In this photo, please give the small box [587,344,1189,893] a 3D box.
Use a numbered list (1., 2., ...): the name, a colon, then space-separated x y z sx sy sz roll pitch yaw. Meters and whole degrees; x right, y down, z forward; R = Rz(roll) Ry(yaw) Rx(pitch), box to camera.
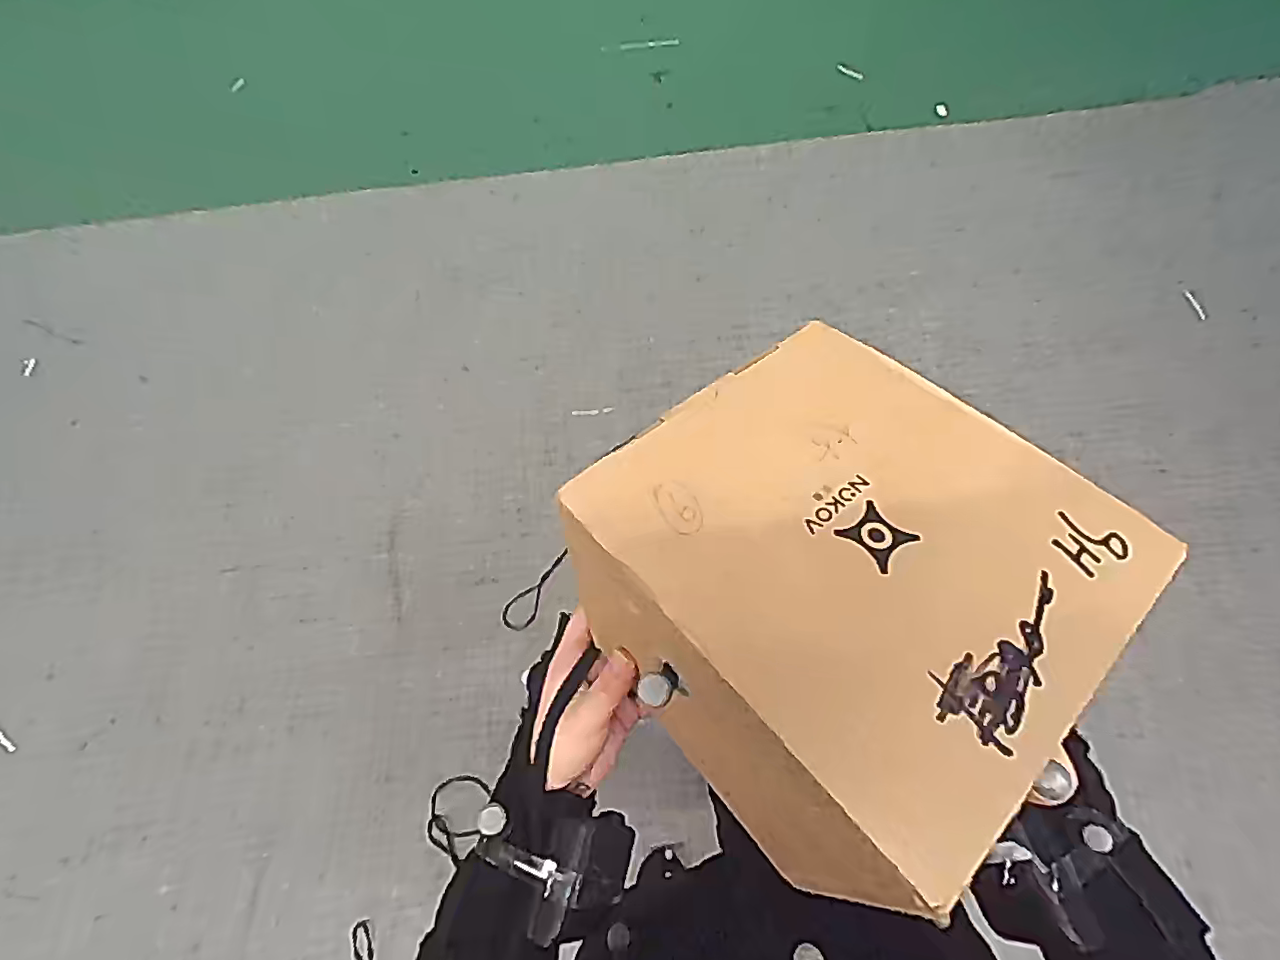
1. small box: 0.094 0.069 0.279 0.168 0.176 0.179 -36 61 -21
